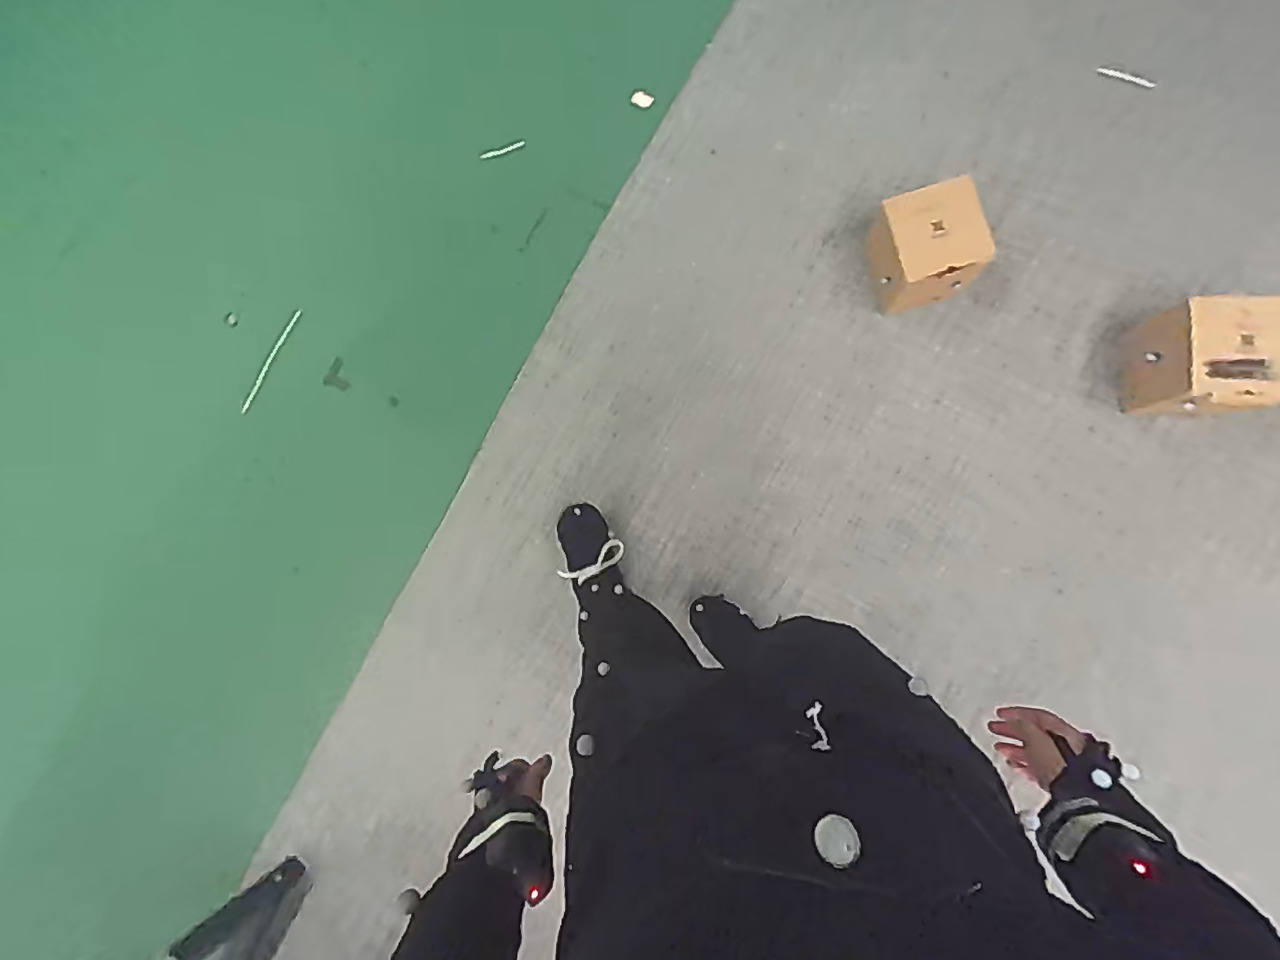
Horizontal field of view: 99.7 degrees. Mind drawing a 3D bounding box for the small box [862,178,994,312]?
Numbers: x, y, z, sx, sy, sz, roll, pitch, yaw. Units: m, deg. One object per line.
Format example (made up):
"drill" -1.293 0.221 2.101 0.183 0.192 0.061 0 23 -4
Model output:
"small box" 0.573 -0.462 1.098 0.168 0.176 0.179 -15 81 7
